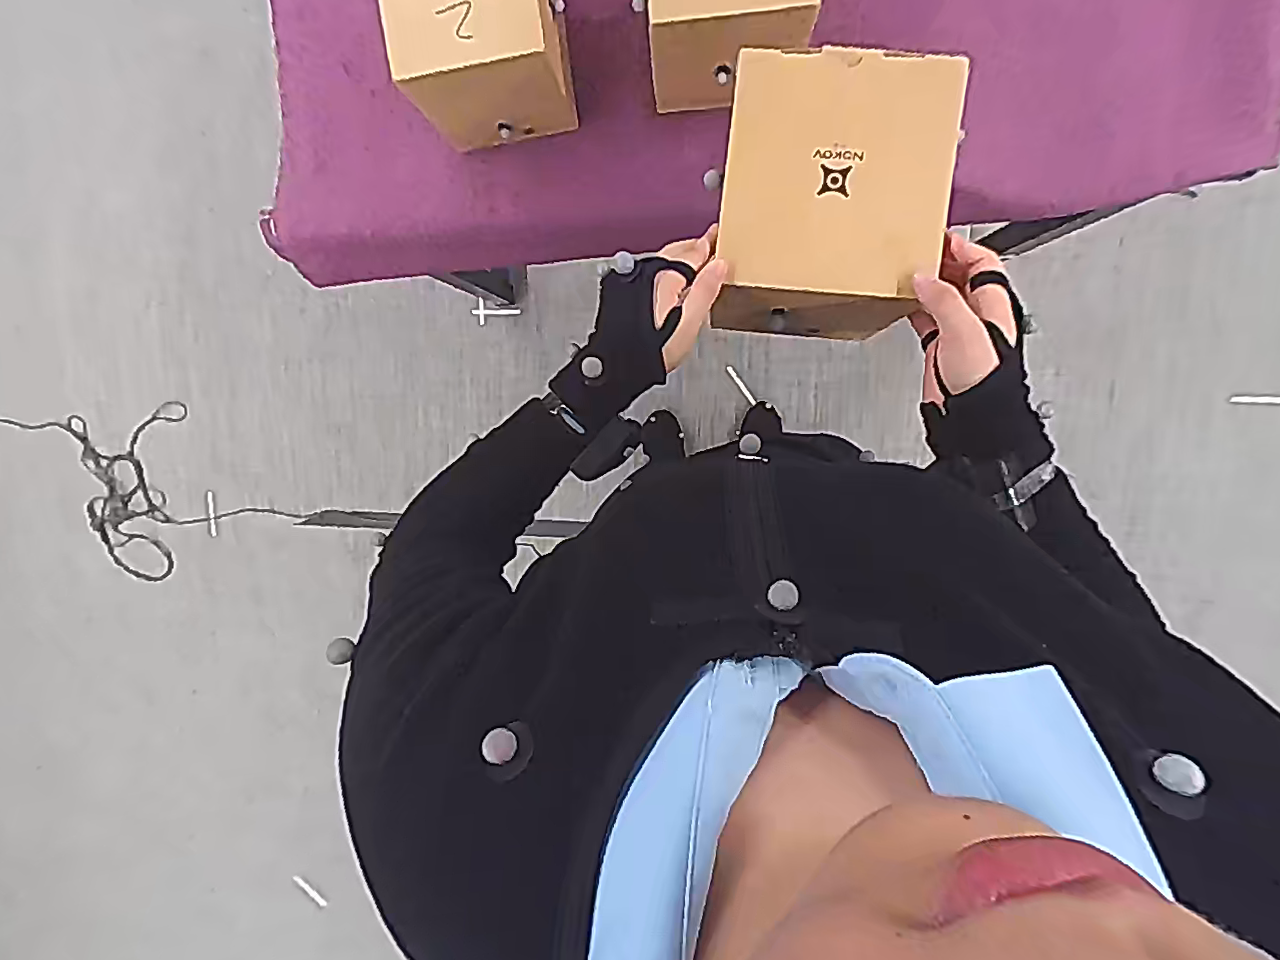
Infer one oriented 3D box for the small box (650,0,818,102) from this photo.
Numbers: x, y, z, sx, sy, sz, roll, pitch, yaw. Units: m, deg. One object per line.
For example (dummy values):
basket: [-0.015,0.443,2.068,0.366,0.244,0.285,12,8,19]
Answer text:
small box: [0.095,-0.546,0.591,0.168,0.176,0.179,-2,97,4]
